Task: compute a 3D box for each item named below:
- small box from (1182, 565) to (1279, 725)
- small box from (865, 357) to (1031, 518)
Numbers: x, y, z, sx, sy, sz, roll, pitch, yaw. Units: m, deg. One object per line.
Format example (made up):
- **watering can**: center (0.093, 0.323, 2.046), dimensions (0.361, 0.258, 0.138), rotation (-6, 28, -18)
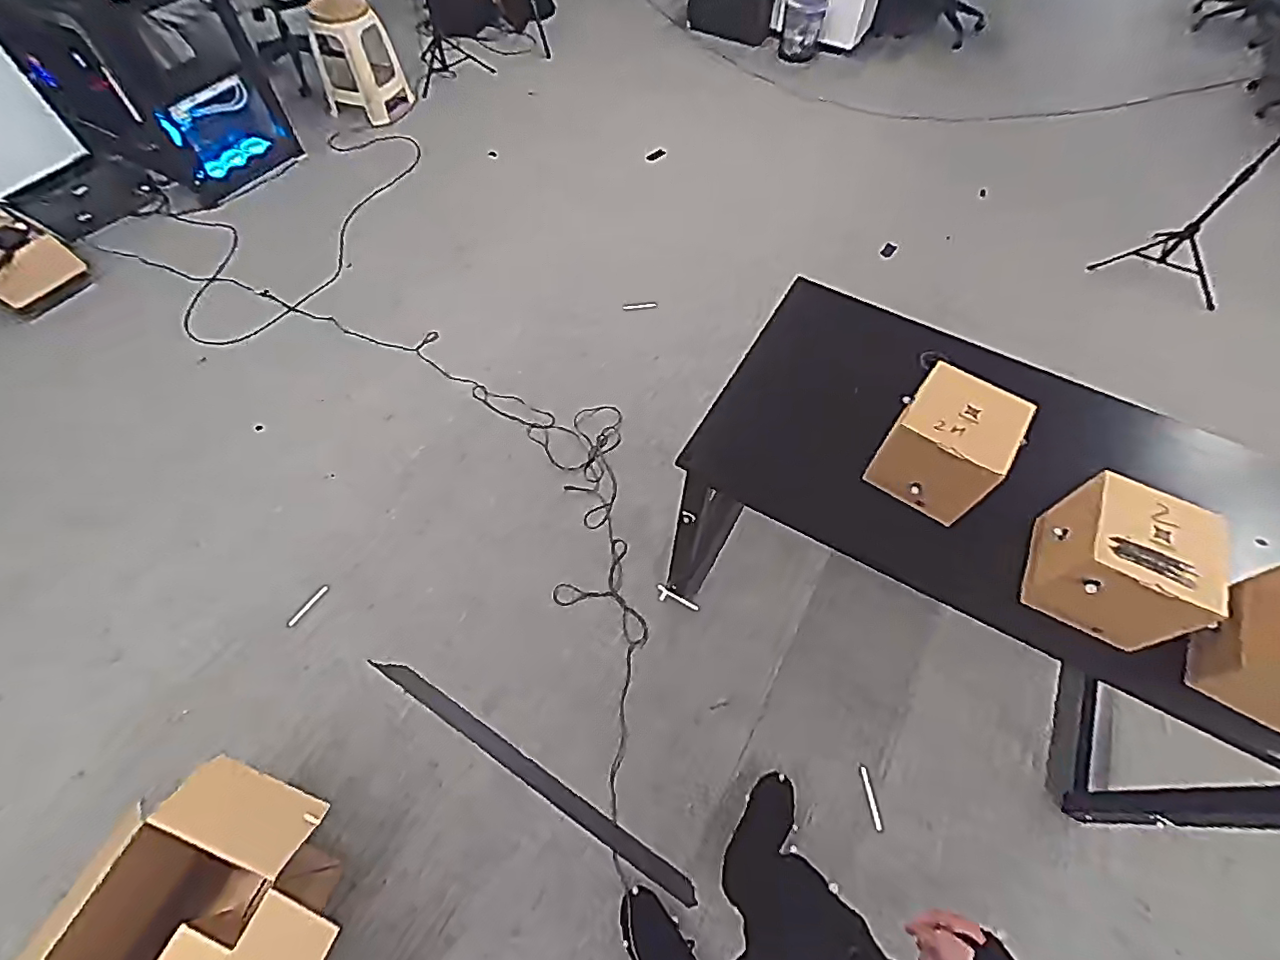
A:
- **small box**: center (0.932, 0.236, 0.754), dimensions (0.179, 0.176, 0.168), rotation (28, 62, 17)
- **small box**: center (0.518, -0.069, 0.930), dimensions (0.168, 0.176, 0.179), rotation (32, 64, 17)
